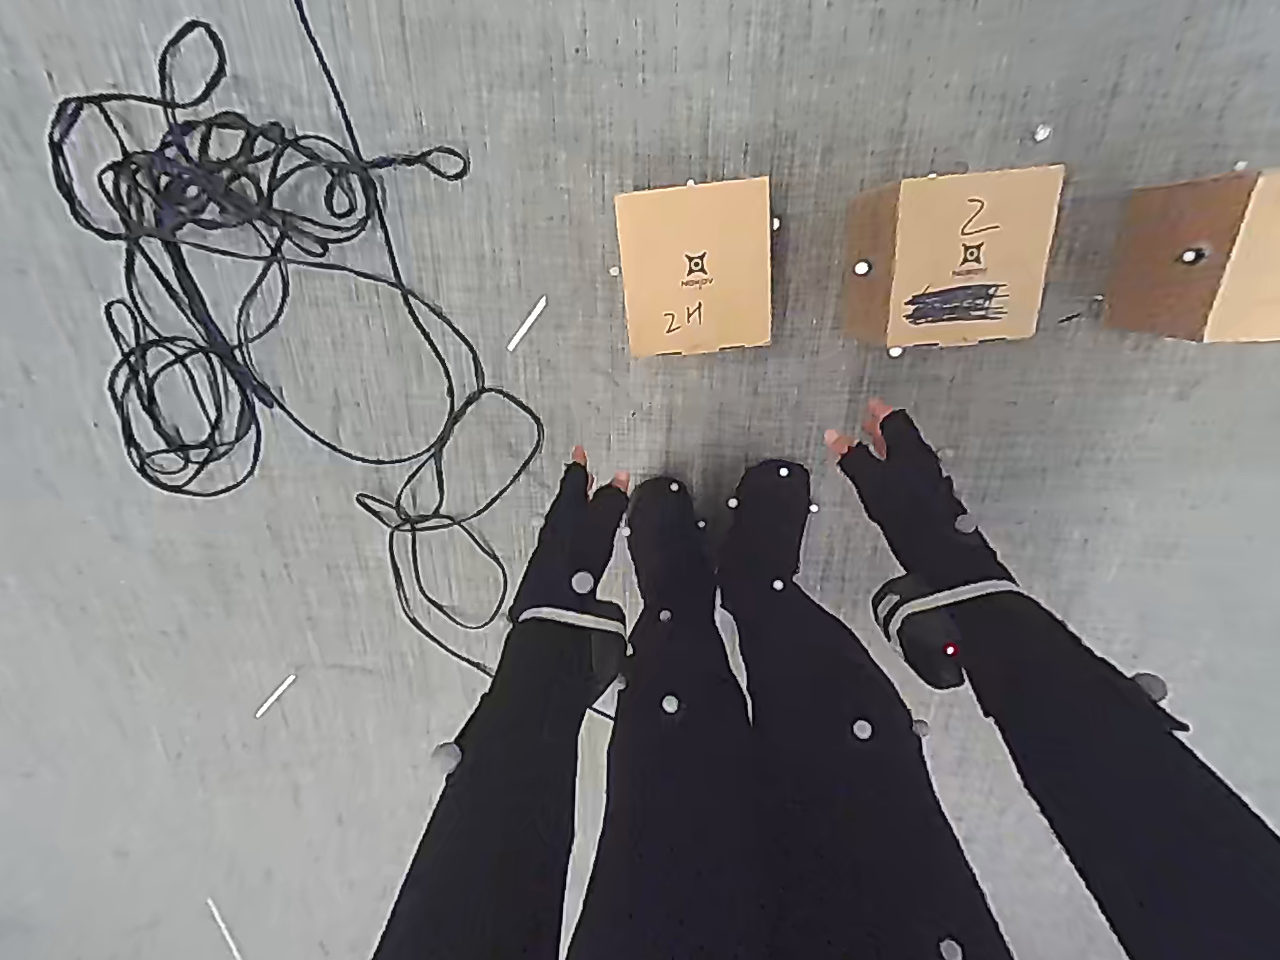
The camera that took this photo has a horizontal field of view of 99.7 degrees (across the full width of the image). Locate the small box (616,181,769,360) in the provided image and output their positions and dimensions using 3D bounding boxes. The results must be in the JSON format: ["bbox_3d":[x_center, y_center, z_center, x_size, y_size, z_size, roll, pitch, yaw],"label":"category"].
[{"bbox_3d":[0.063,-0.255,0.674,0.168,0.176,0.179,-4,111,4],"label":"small box"}]

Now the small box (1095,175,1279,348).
[{"bbox_3d":[0.710,-0.263,0.657,0.168,0.176,0.179,-1,113,4],"label":"small box"}]
